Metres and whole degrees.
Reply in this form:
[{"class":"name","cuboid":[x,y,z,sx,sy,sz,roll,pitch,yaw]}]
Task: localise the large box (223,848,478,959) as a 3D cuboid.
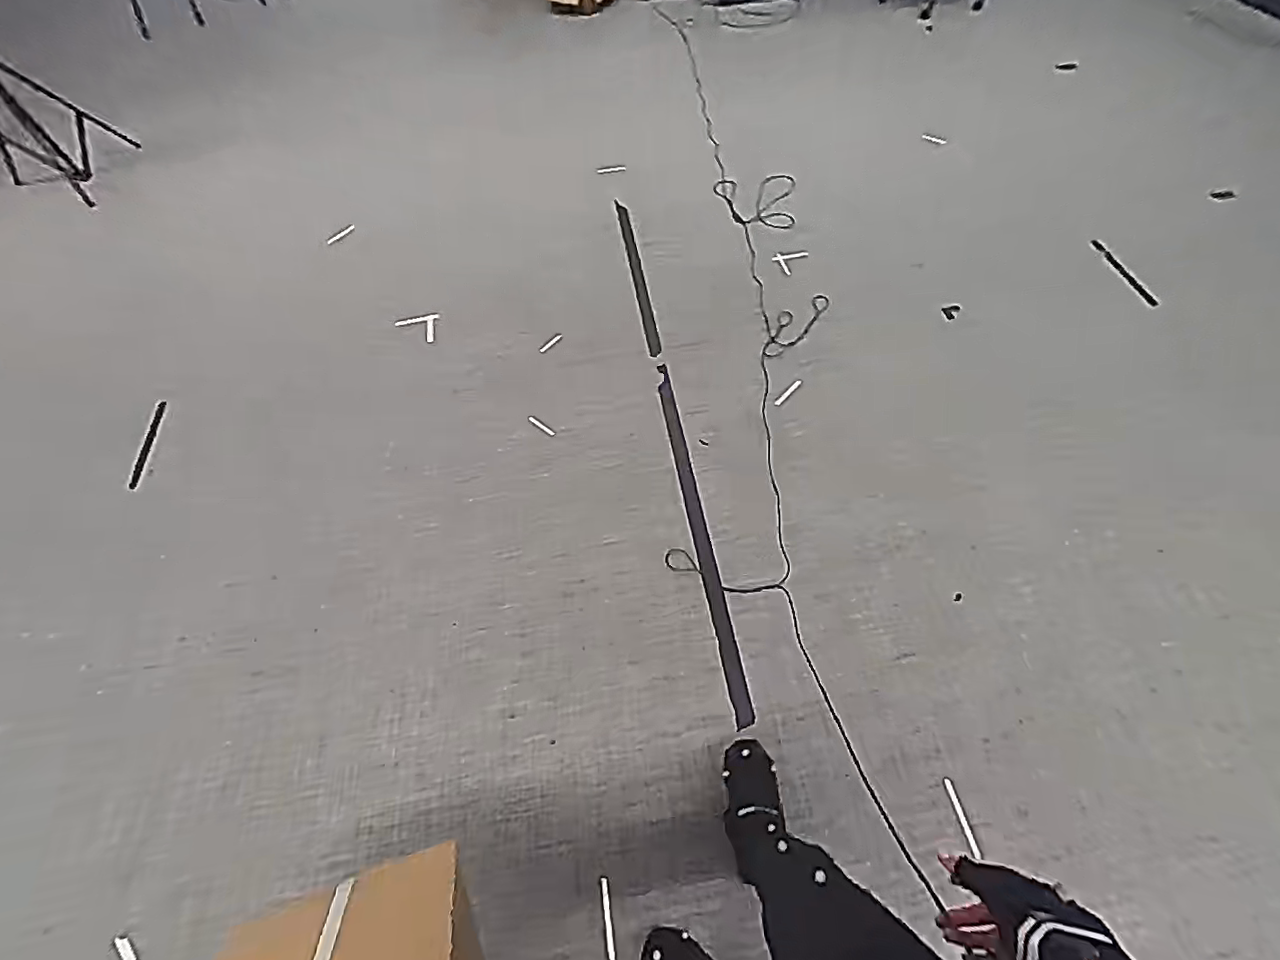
[{"class":"large box","cuboid":[-0.348,0.759,0.644,0.320,0.408,0.320,-12,93,-17]}]
